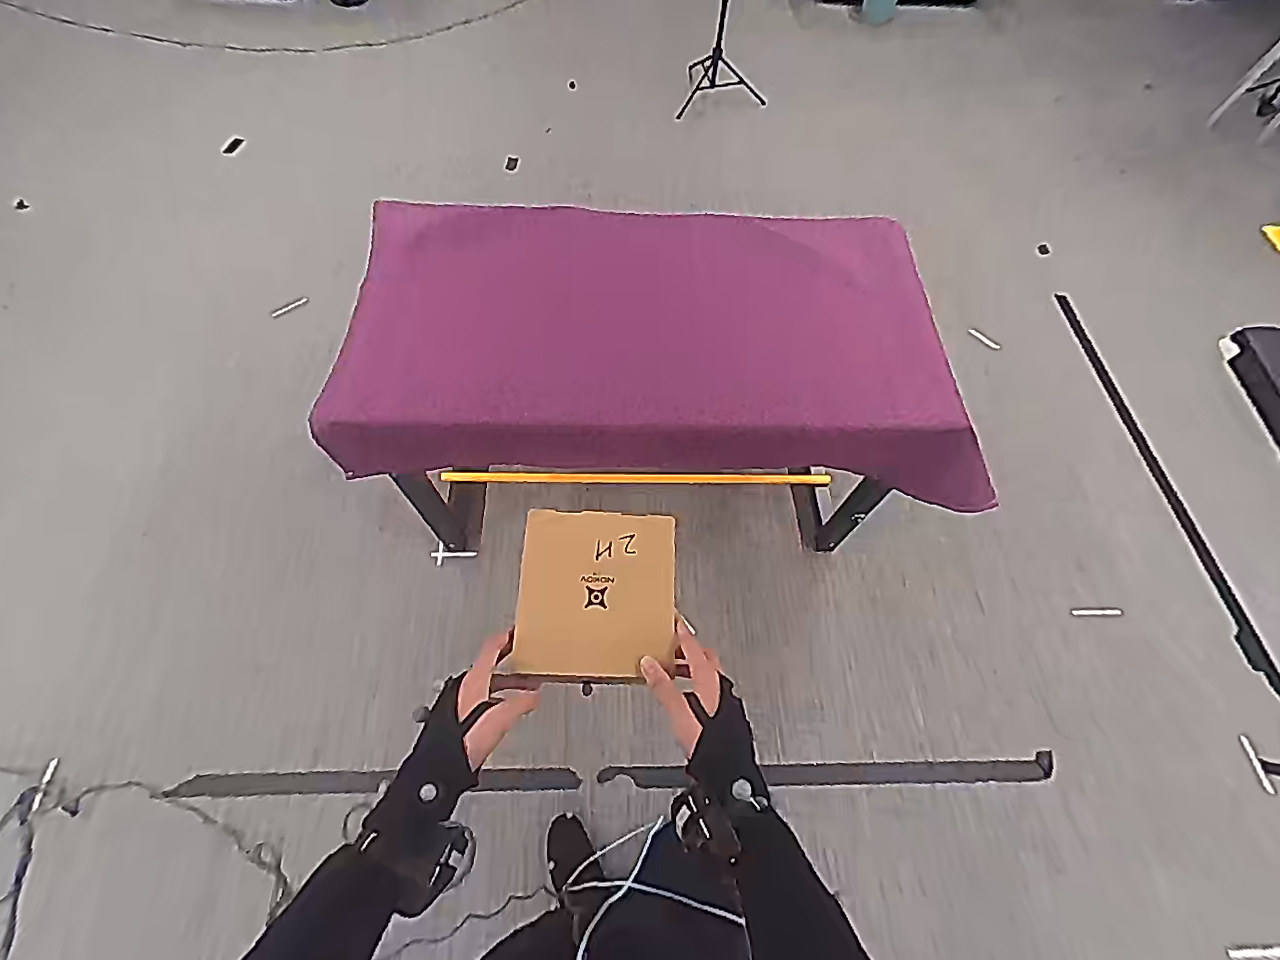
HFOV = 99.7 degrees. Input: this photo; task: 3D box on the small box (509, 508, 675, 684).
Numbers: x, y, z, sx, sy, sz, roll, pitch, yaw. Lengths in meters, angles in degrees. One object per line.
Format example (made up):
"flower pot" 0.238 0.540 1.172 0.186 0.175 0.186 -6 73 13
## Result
"small box" -0.052 0.147 0.646 0.168 0.176 0.179 4 67 -4
